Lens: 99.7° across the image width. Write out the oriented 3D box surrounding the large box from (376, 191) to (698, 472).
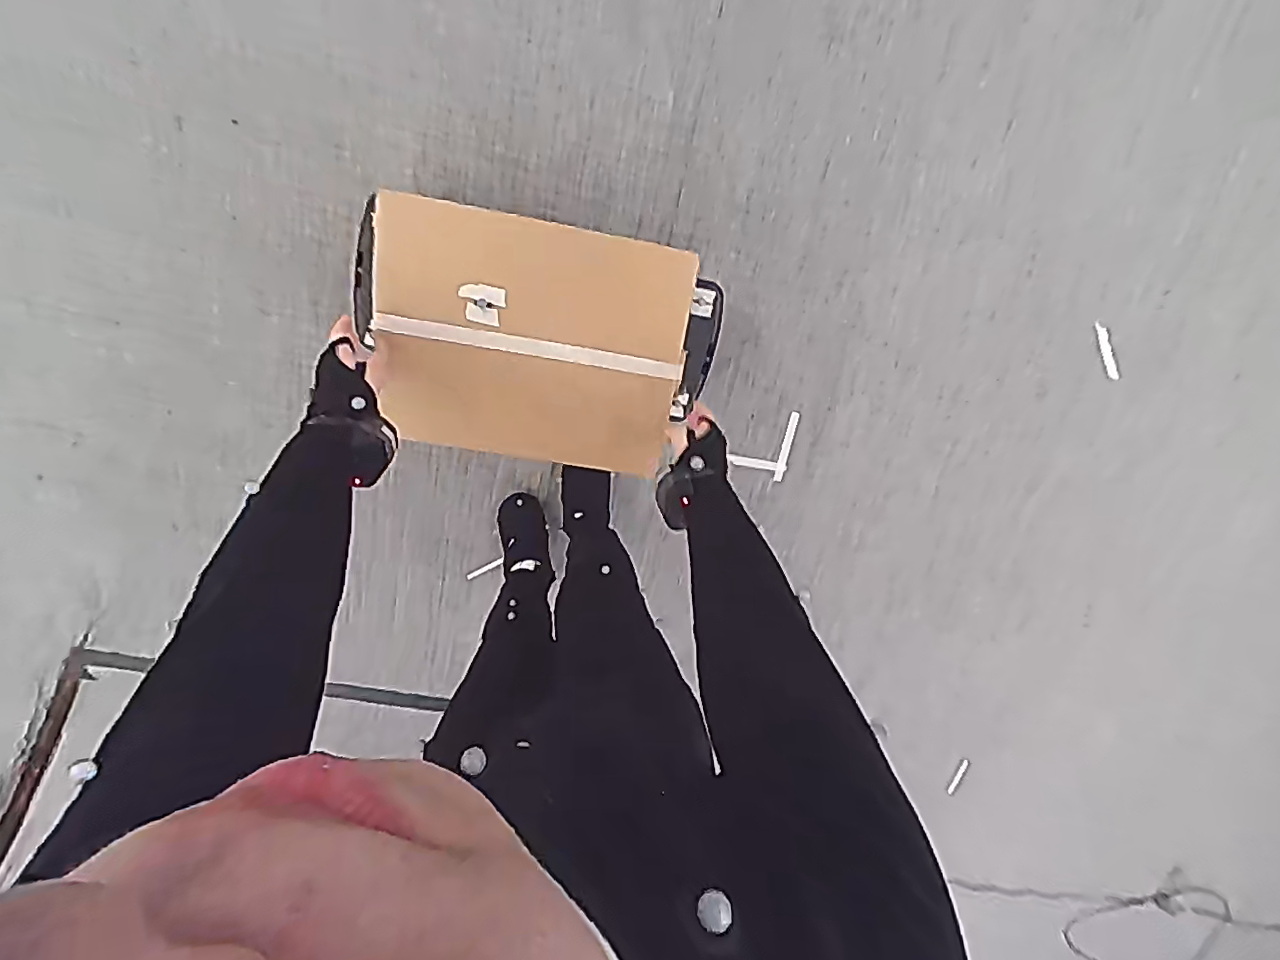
[{"bbox_3d":[-0.149,-0.229,0.856,0.408,0.320,0.320,9,108,-6],"label":"large box"}]
